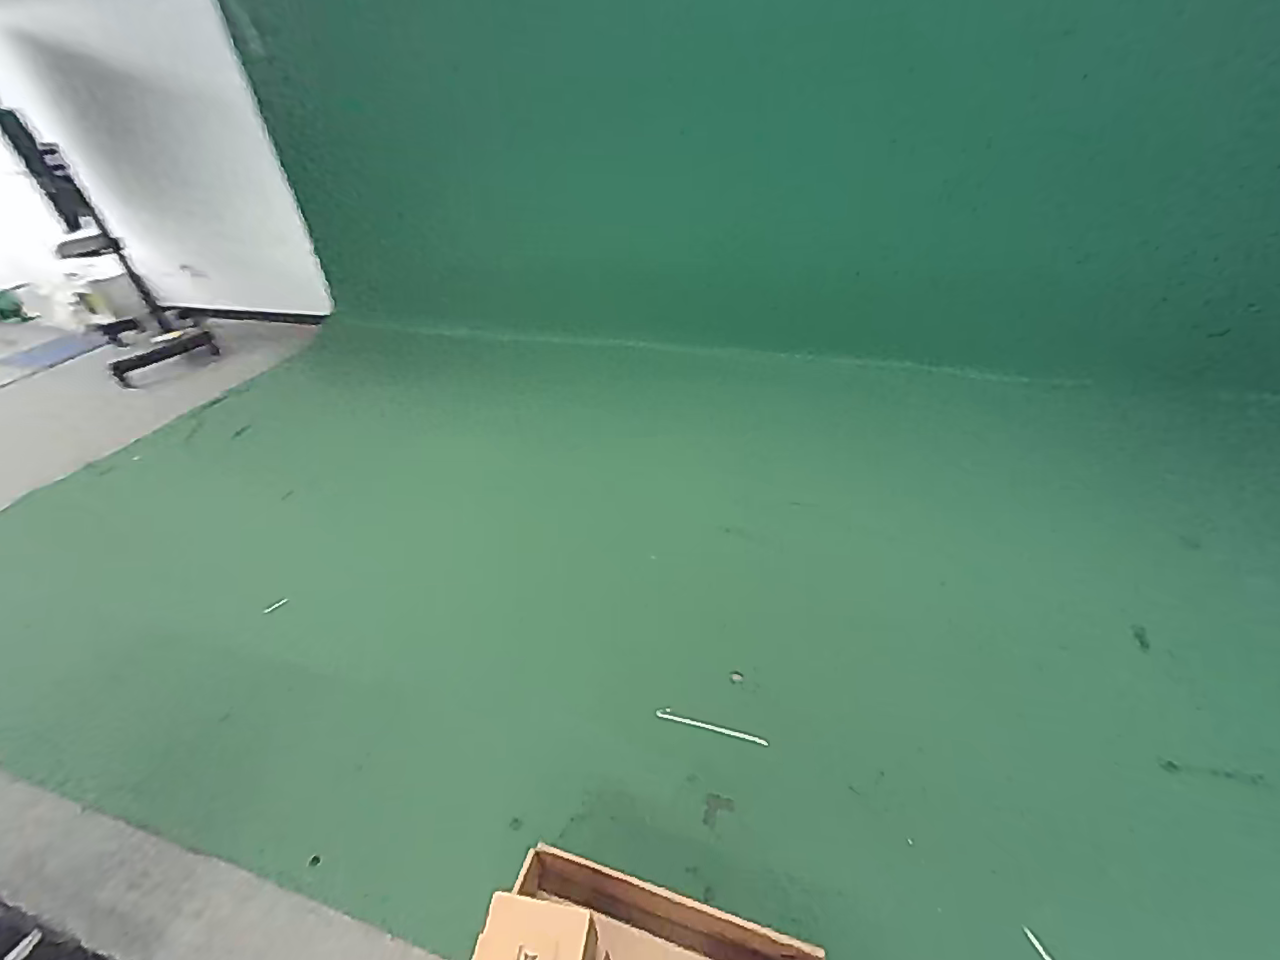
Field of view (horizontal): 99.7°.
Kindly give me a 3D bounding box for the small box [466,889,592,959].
[{"bbox_3d":[-0.186,0.821,0.905,0.179,0.176,0.168,5,41,8],"label":"small box"}]
